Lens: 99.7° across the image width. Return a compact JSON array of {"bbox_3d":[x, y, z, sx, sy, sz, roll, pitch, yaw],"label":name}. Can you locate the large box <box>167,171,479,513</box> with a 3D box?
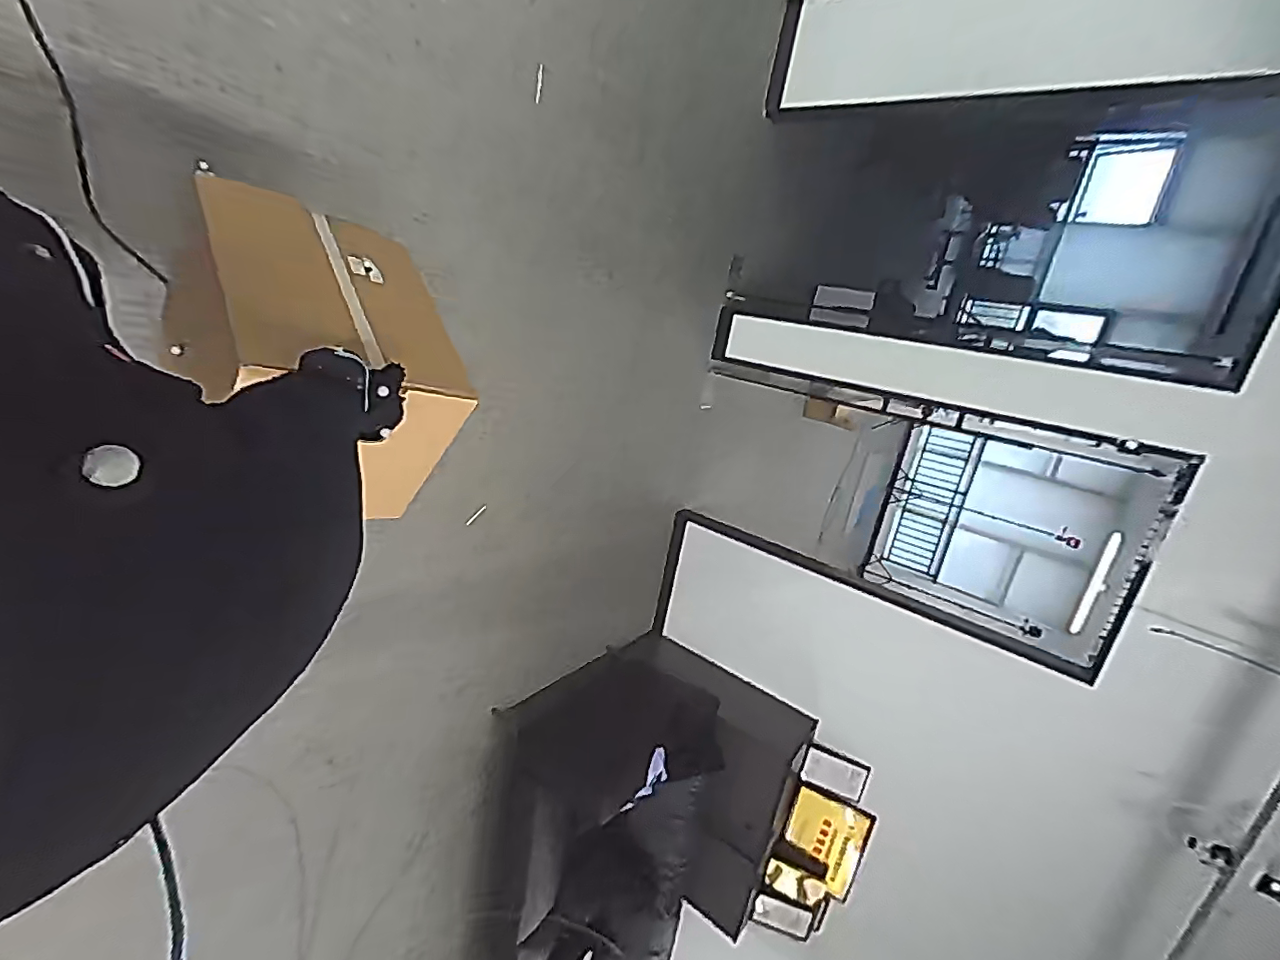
[{"bbox_3d":[-0.534,-0.197,0.890,0.320,0.408,0.320,2,140,-51],"label":"large box"}]
